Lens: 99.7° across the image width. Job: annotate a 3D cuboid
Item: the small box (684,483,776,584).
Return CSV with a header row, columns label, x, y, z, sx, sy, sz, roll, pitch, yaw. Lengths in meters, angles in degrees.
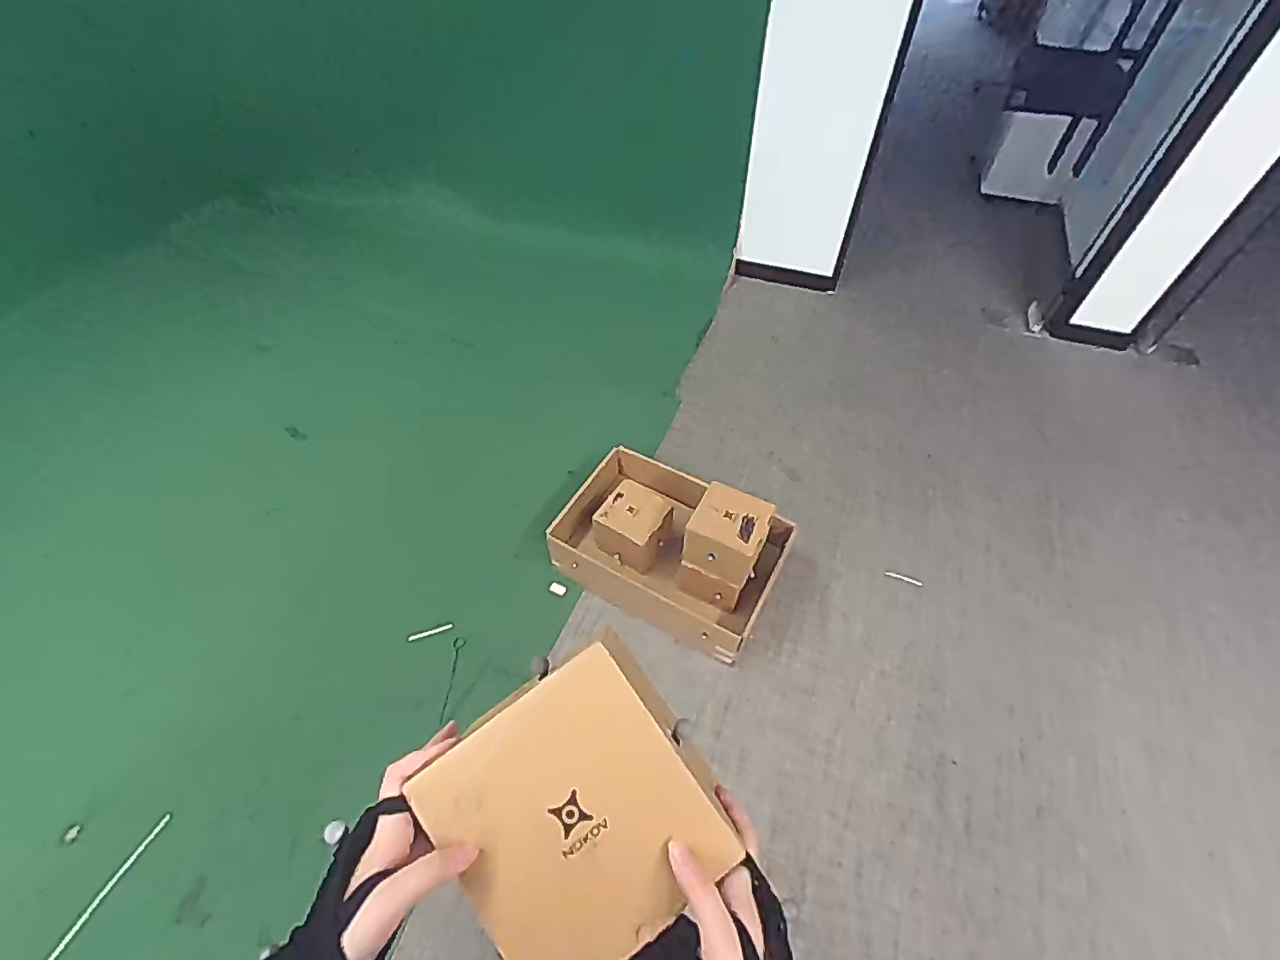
label,x,y,z,sx,sy,sz,roll,pitch,yaw
small box,0.224,0.143,1.382,0.179,0.176,0.168,23,56,18
